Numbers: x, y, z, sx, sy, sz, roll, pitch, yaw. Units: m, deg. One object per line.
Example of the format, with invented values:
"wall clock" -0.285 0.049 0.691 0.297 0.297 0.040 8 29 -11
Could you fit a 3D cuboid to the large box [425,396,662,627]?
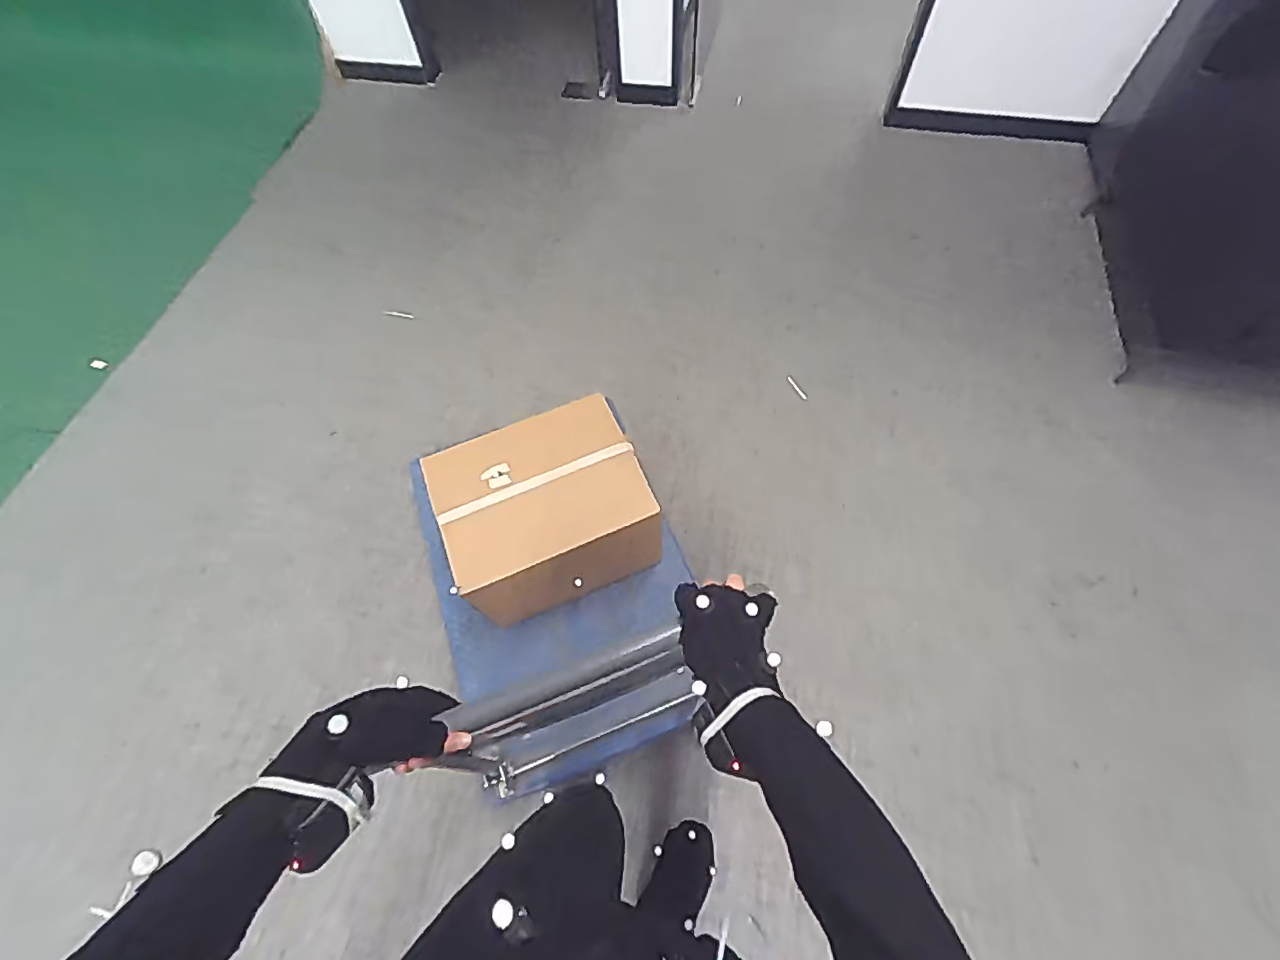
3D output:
"large box" -0.193 0.081 1.207 0.408 0.320 0.320 -23 64 -9
